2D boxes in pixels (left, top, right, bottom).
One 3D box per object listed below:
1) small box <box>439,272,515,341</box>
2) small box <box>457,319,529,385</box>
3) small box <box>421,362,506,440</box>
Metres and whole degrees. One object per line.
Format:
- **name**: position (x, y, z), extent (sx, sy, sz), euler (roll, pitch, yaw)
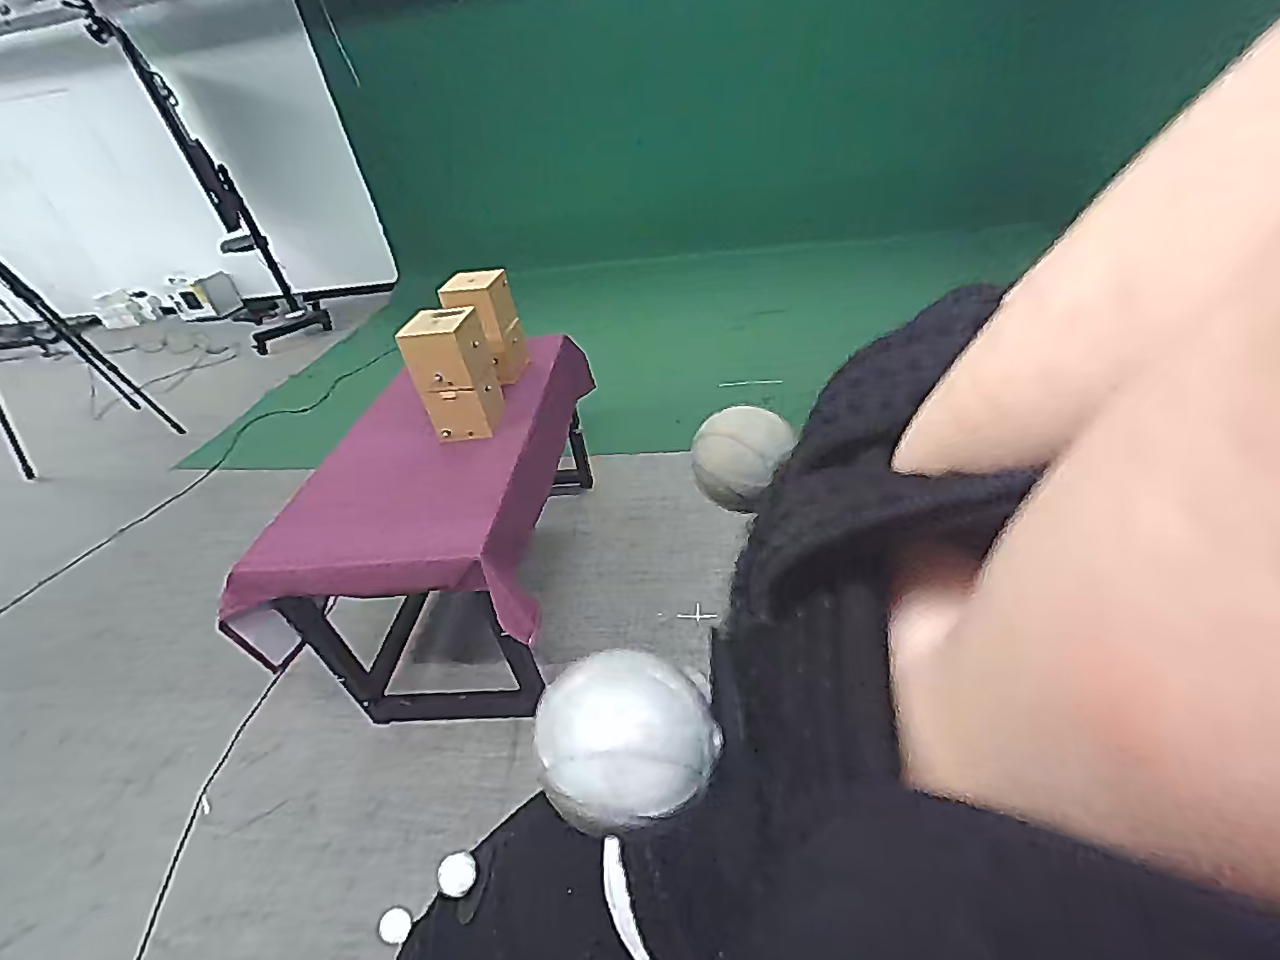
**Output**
- **small box**: position (-0.525, -0.564, 1.770), extent (0.168, 0.176, 0.179), euler (-1, 38, 9)
- **small box**: position (-0.498, -0.437, 1.869), extent (0.168, 0.176, 0.179), euler (0, 38, 11)
- **small box**: position (-0.513, -0.230, 1.603), extent (0.168, 0.176, 0.179), euler (-4, 37, 7)
